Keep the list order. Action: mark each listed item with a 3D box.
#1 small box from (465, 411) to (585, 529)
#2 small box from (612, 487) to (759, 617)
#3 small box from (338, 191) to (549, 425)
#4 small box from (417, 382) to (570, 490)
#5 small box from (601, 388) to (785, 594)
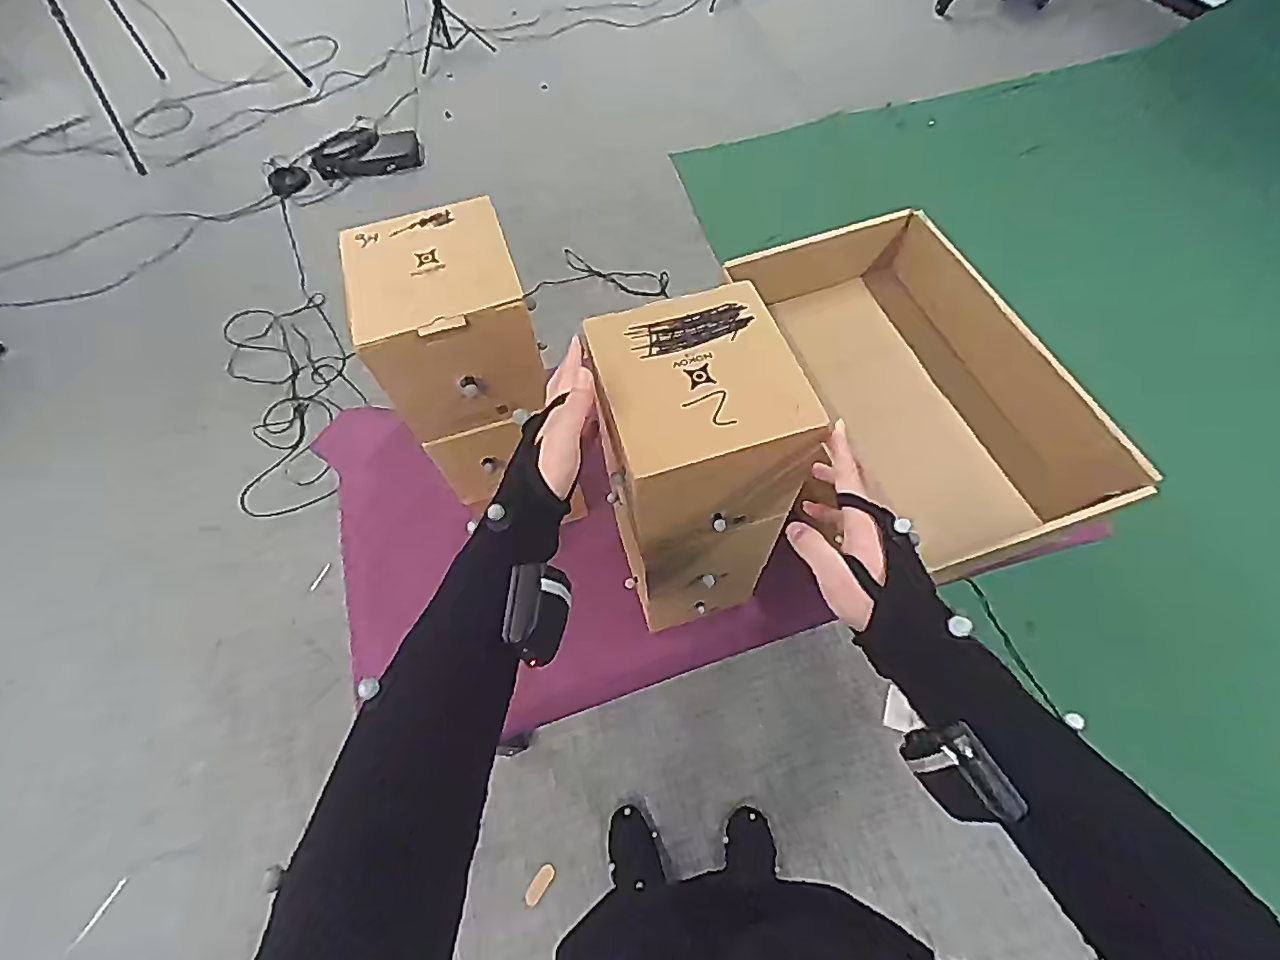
[{"bbox_3d":[-0.197,-0.033,0.903,0.168,0.176,0.179,-17,63,-6],"label":"small box"},{"bbox_3d":[0.063,0.095,0.819,0.168,0.176,0.179,-16,63,-6],"label":"small box"},{"bbox_3d":[-0.212,-0.182,0.614,0.168,0.176,0.179,-18,64,-7],"label":"small box"},{"bbox_3d":[-0.204,-0.102,0.758,0.168,0.176,0.179,-17,63,-6],"label":"small box"},{"bbox_3d":[0.057,0.019,0.675,0.168,0.176,0.179,-17,63,-5],"label":"small box"}]
